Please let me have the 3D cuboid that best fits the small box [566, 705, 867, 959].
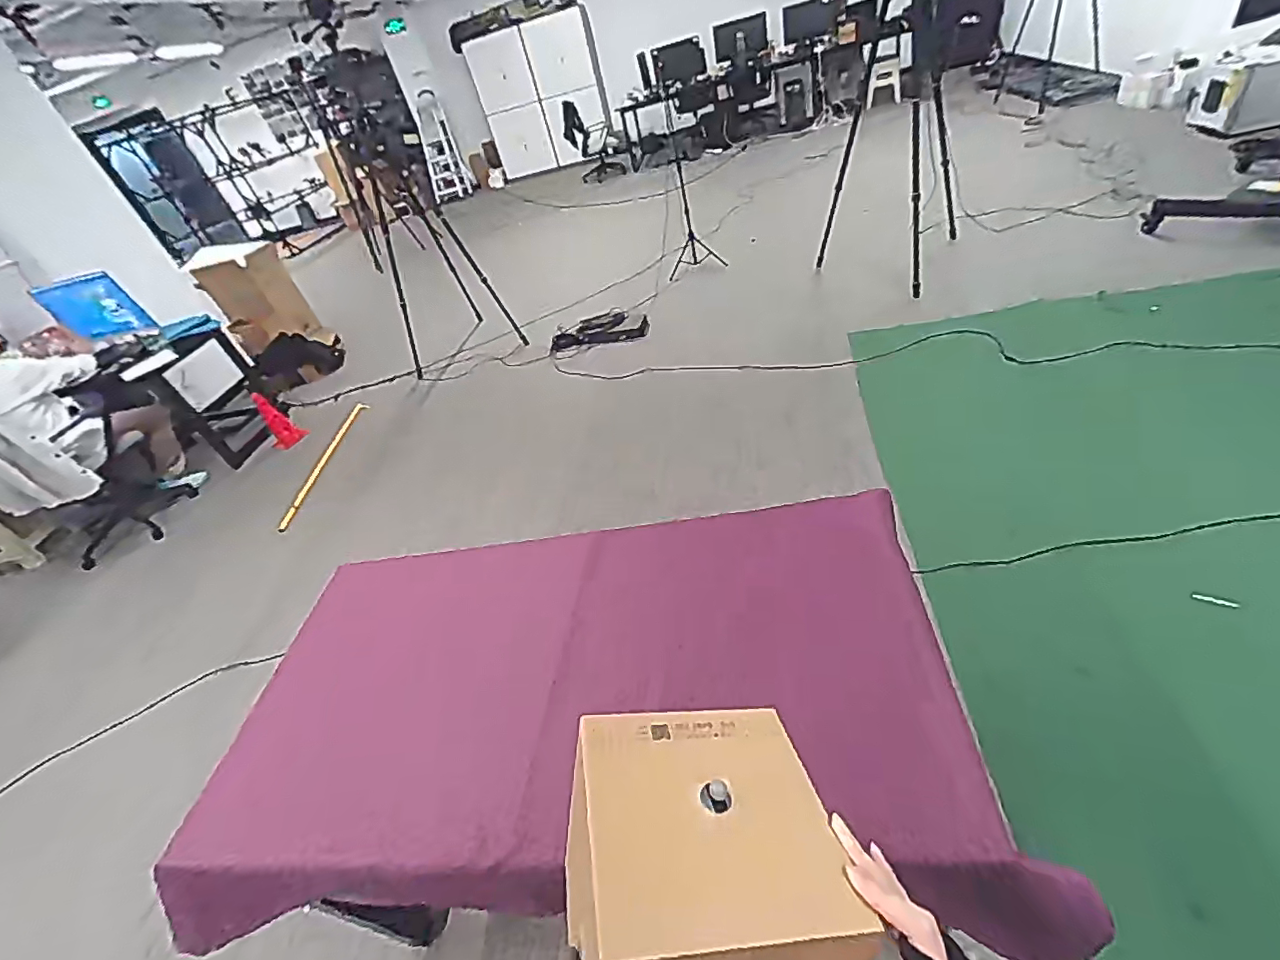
[{"bbox_3d":[0.033,0.291,0.406,0.168,0.179,0.176,3,23,-10],"label":"small box"}]
